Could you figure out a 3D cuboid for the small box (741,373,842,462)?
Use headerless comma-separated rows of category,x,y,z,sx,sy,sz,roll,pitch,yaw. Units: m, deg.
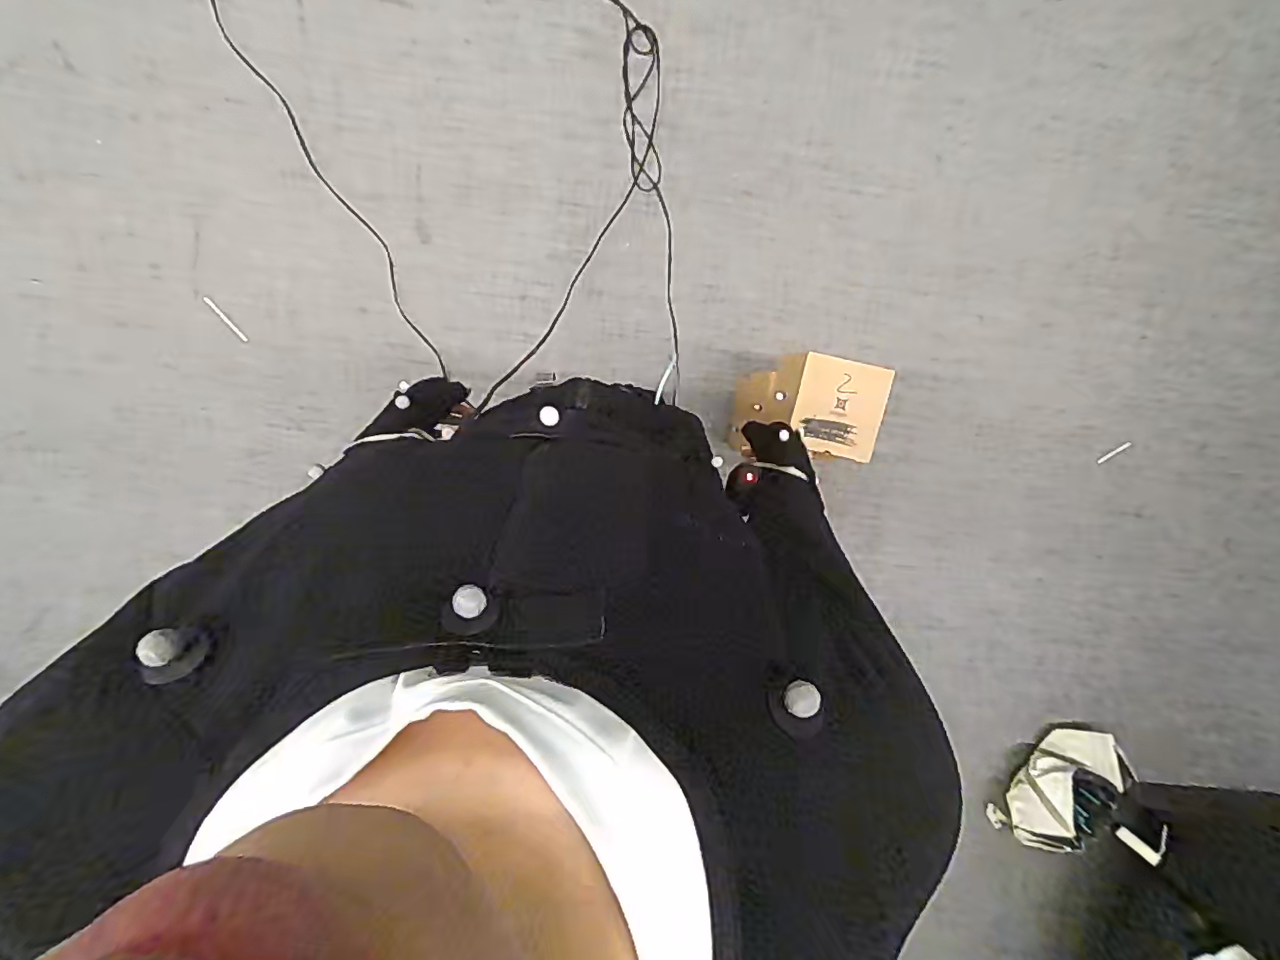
small box,0.335,-0.146,1.230,0.168,0.176,0.179,6,101,-3

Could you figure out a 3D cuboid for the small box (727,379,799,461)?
small box,0.329,-0.159,1.395,0.168,0.176,0.179,9,101,-5
